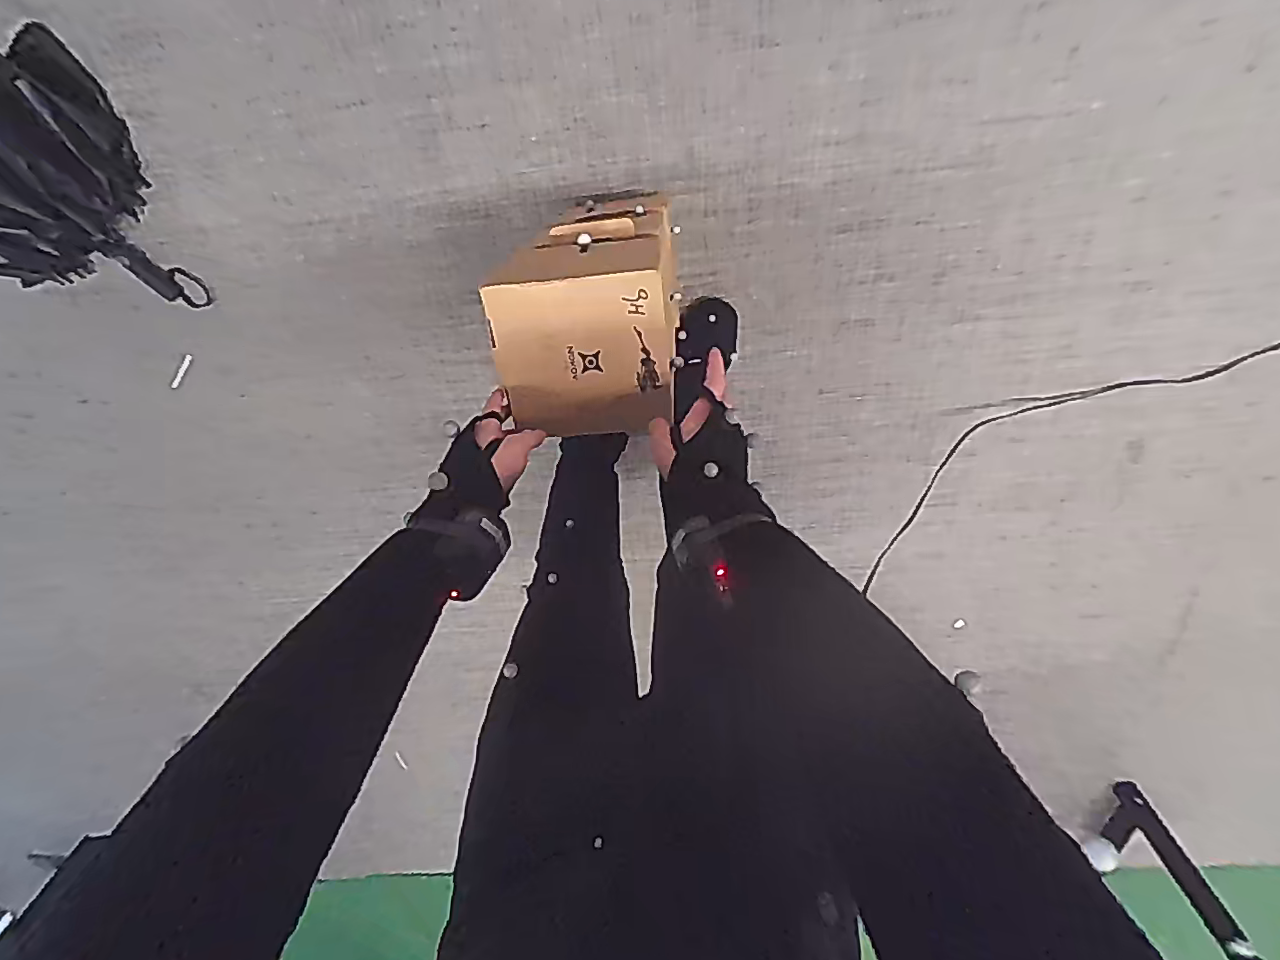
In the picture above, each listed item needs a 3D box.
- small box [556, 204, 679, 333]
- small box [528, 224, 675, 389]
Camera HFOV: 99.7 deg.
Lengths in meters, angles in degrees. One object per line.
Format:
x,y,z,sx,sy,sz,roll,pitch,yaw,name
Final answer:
-0.028,-0.341,0.885,0.168,0.176,0.179,-6,124,8,small box
-0.042,-0.247,0.751,0.168,0.176,0.179,-5,123,7,small box
